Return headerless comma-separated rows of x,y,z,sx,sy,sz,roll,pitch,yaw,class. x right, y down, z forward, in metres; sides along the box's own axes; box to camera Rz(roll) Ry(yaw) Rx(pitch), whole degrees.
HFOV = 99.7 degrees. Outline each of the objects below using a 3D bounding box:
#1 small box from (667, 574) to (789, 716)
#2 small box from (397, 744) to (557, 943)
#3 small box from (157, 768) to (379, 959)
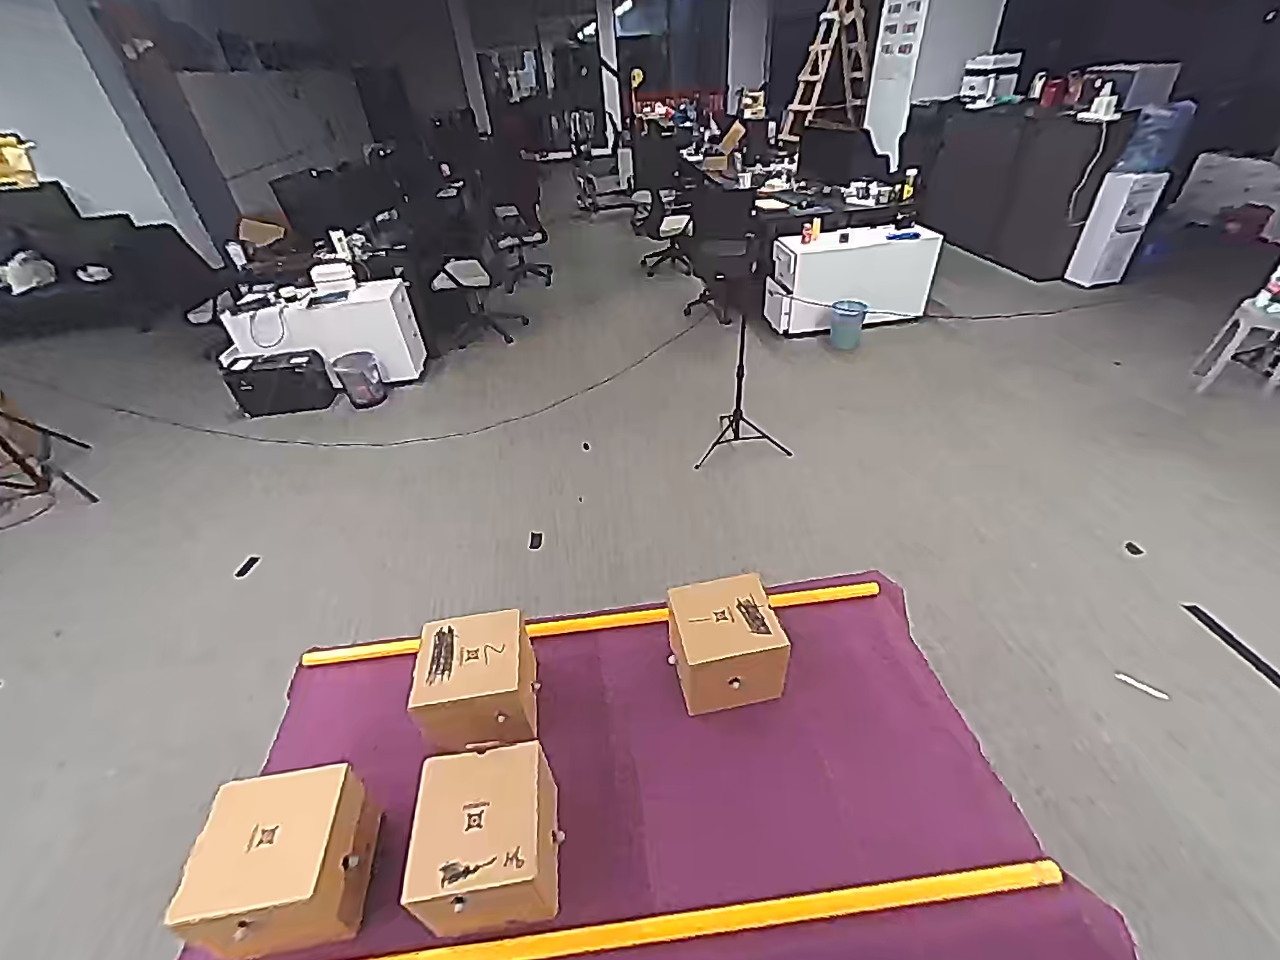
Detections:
0.152,0.300,0.984,0.179,0.176,0.168,-10,39,-5,small box
-0.213,0.507,0.760,0.168,0.176,0.179,-8,37,-3,small box
-0.491,0.535,0.754,0.179,0.176,0.168,-8,37,-5,small box
